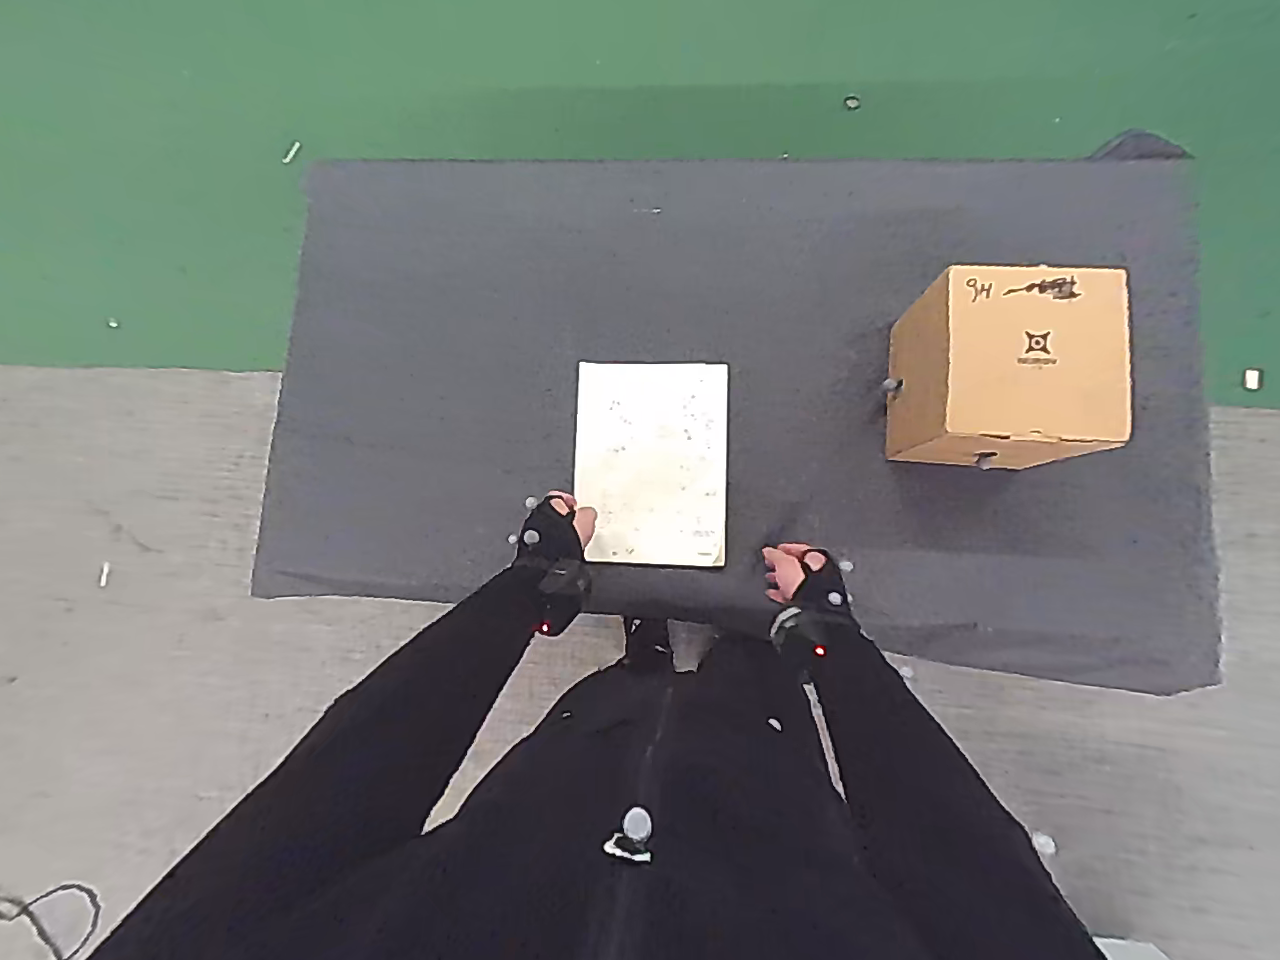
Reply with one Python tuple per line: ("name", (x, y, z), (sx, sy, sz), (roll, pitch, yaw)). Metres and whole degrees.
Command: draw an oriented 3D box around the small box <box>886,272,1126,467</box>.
("small box", (0.391, -0.111, 0.608), (0.168, 0.176, 0.179), (4, 85, 5))
